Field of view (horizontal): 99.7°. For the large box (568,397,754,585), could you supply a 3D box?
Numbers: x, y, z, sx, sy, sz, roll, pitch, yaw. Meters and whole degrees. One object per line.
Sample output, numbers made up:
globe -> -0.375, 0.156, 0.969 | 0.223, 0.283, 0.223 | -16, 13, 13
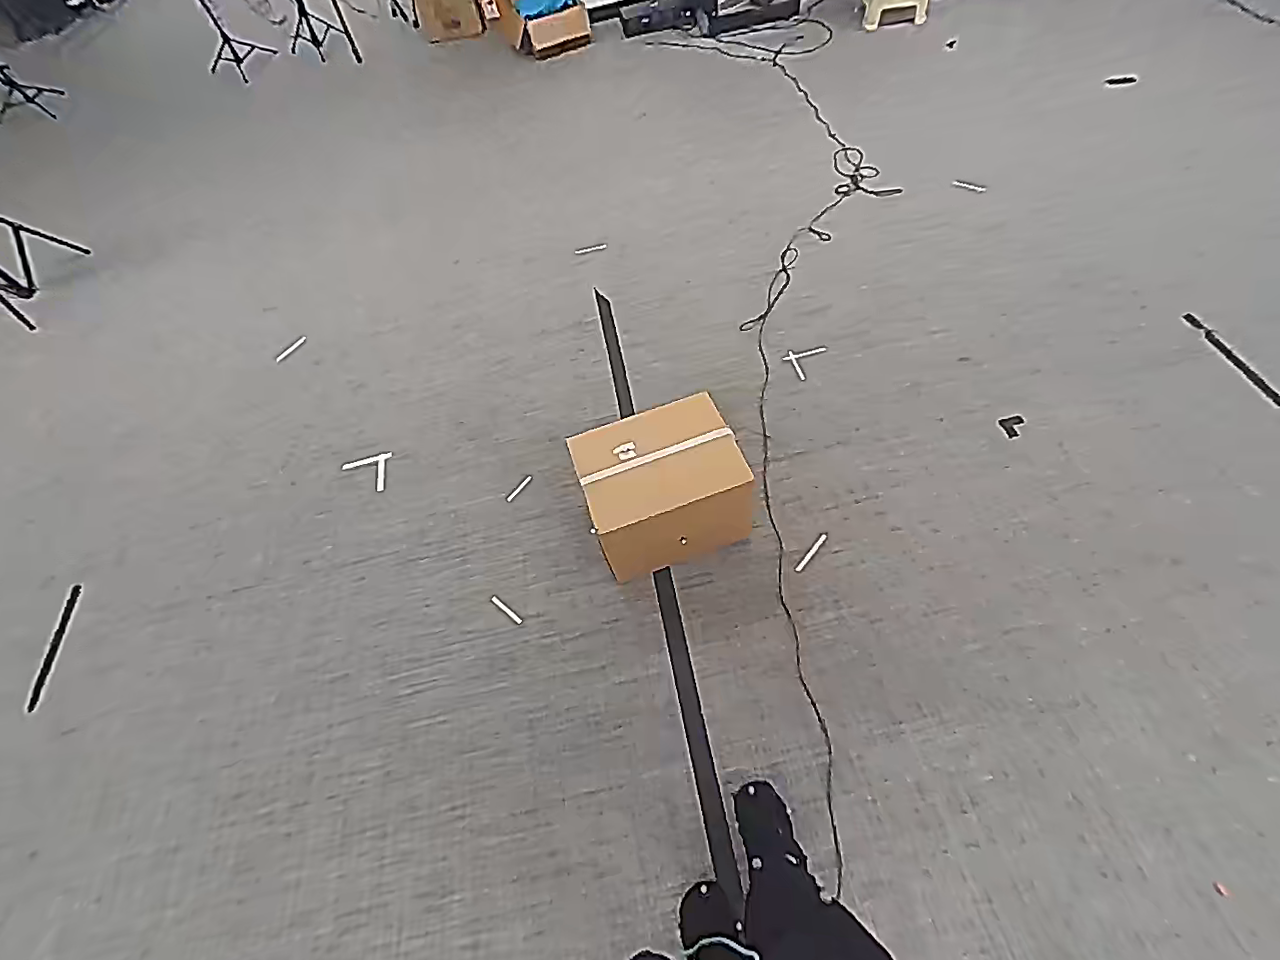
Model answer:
large box -> 0.063, 0.038, 1.486 | 0.408, 0.320, 0.320 | -20, 56, -3
